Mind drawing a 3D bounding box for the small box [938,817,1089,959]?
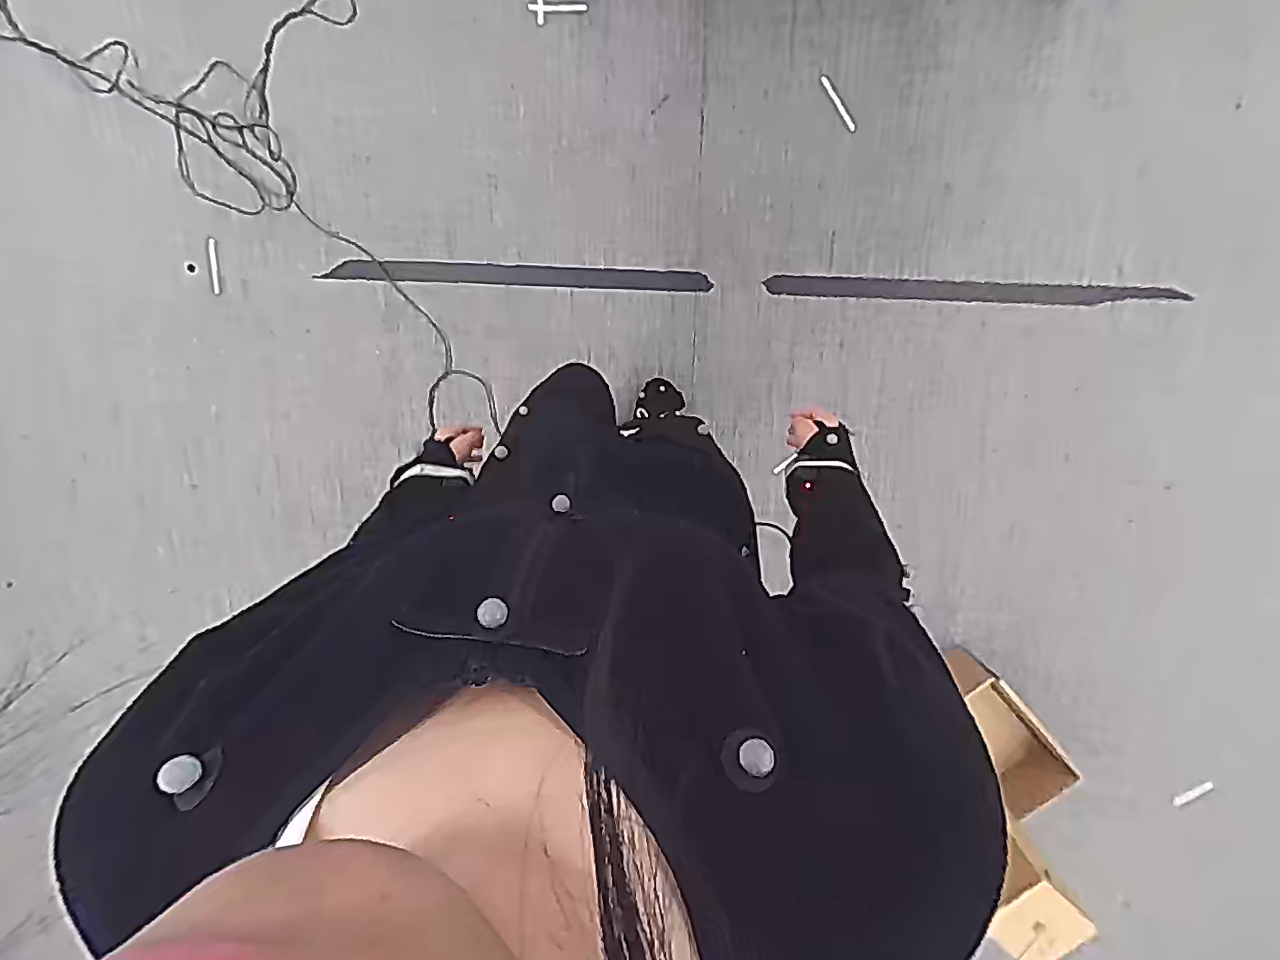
[{"bbox_3d":[0.802,0.885,1.184,0.179,0.176,0.168,43,102,-6],"label":"small box"}]

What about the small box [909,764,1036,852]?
[{"bbox_3d":[0.814,0.848,1.345,0.179,0.176,0.168,43,101,-7],"label":"small box"}]
